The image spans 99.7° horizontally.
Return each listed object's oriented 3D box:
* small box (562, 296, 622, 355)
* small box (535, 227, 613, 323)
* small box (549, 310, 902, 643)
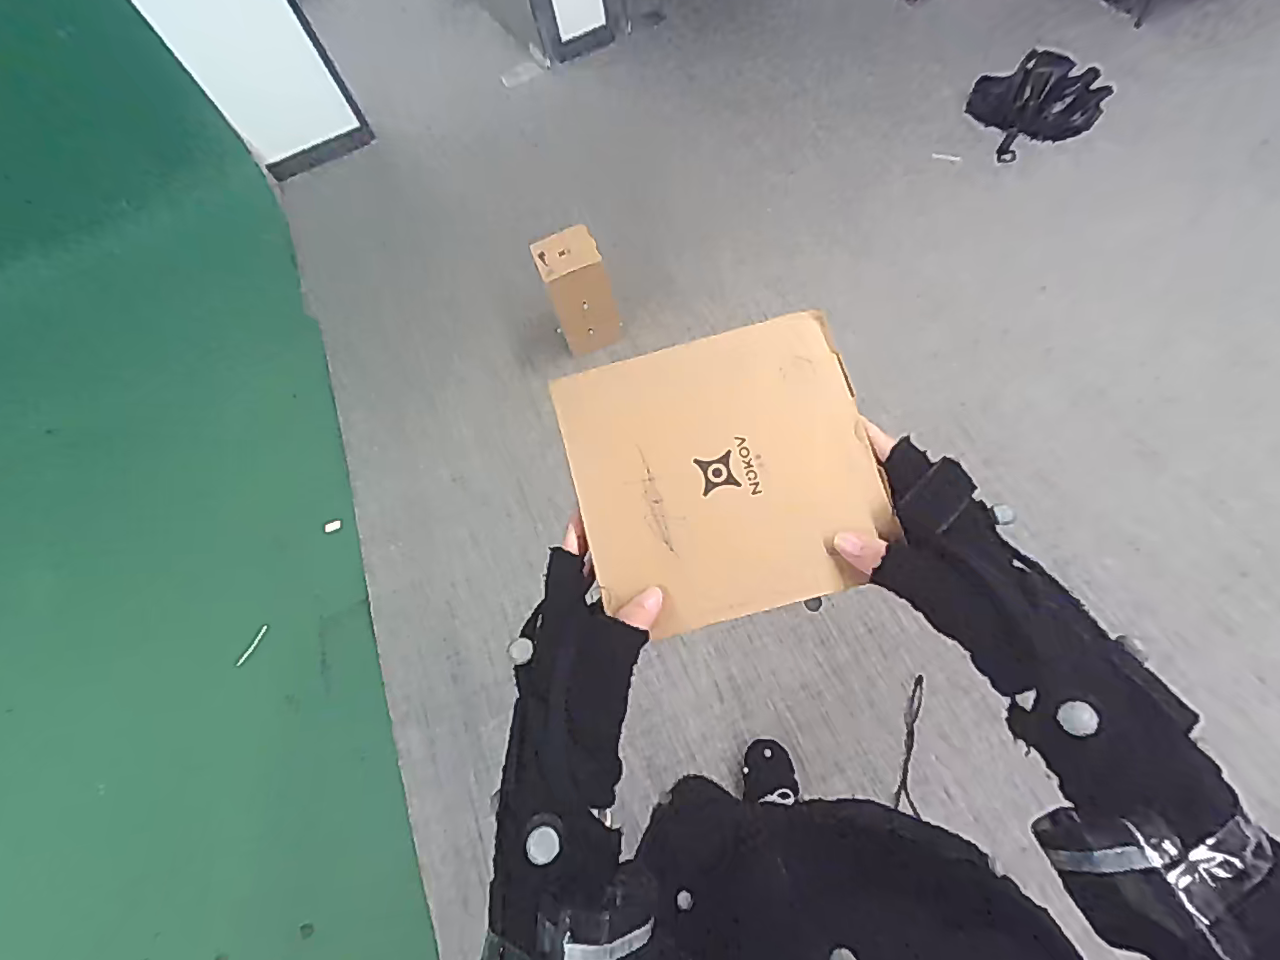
[{"bbox_3d":[-0.164,-0.535,1.737,0.179,0.176,0.168,-20,62,0],"label":"small box"},{"bbox_3d":[-0.186,-0.599,1.591,0.179,0.176,0.168,-21,64,-1],"label":"small box"},{"bbox_3d":[0.052,0.007,0.400,0.179,0.176,0.168,-17,78,2],"label":"small box"}]
